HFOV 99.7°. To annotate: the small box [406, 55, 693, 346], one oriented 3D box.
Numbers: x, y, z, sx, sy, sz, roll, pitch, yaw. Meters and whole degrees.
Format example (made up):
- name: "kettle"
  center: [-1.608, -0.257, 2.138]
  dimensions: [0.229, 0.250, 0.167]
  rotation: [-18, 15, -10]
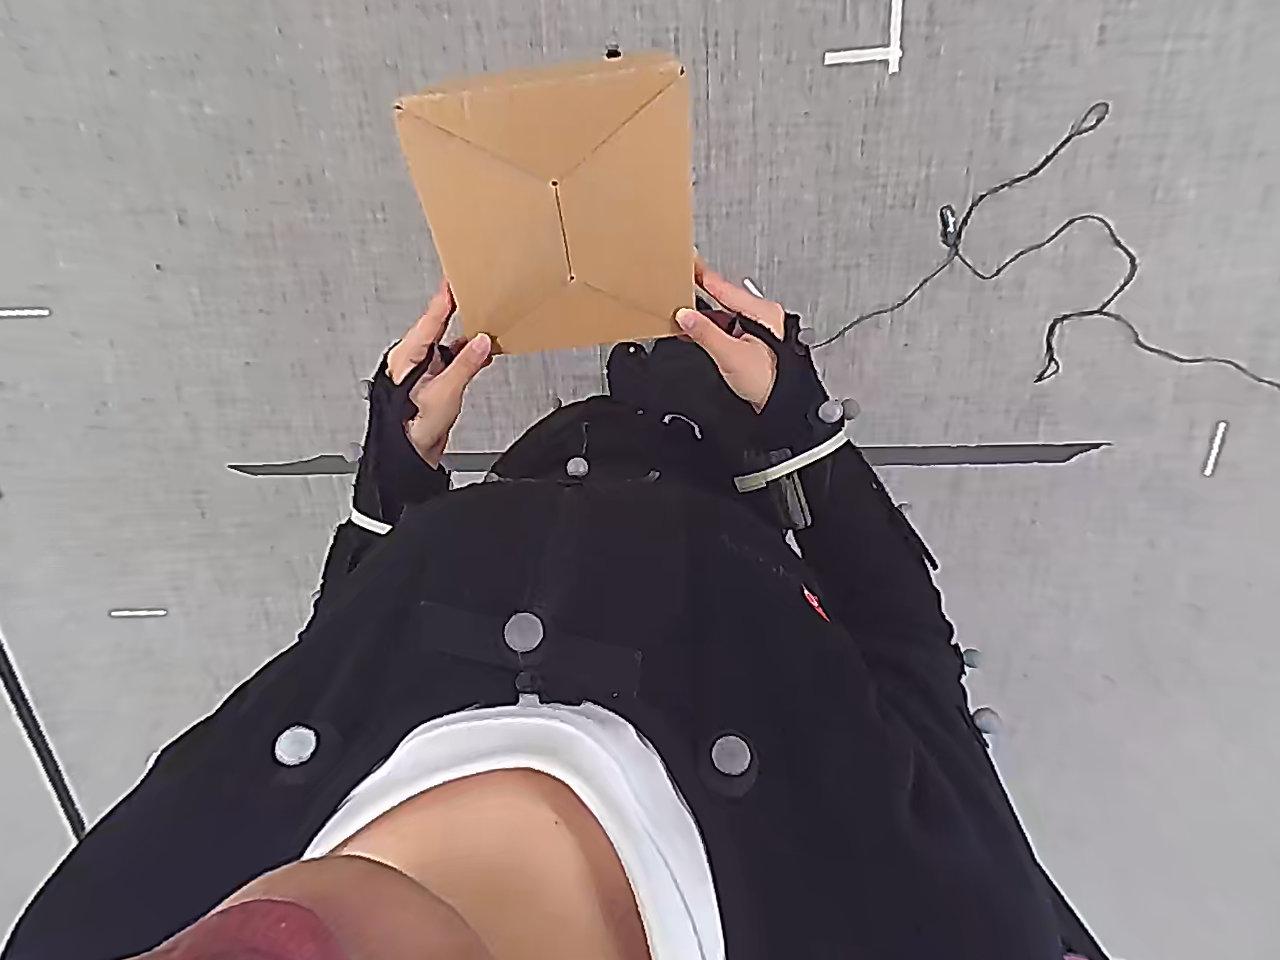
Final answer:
- name: "small box"
  center: [-0.057, -0.221, 0.428]
  dimensions: [0.179, 0.176, 0.168]
  rotation: [-5, 131, 2]
